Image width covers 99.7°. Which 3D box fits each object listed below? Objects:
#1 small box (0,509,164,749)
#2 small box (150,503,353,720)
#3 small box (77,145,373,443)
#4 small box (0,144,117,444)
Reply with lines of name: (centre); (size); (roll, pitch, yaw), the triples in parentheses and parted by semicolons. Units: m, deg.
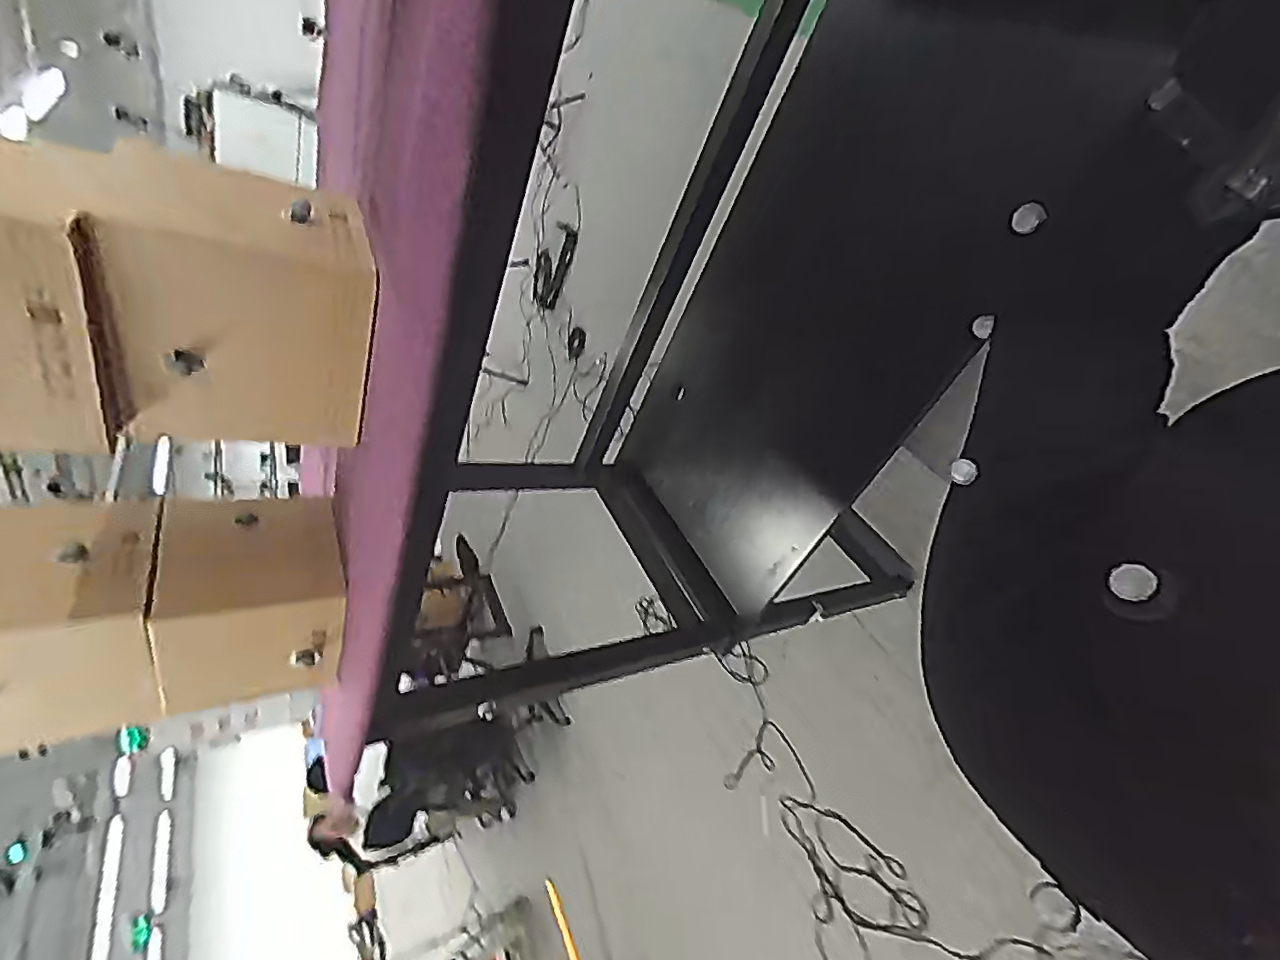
small box: (-0.586, 0.147, 0.545); (0.168, 0.176, 0.179); (51, 130, 40)
small box: (-0.448, 0.141, 0.635); (0.179, 0.176, 0.168); (52, 131, 39)
small box: (-0.335, -0.146, 0.468); (0.168, 0.176, 0.179); (58, 134, 38)
small box: (-0.468, -0.134, 0.371); (0.179, 0.176, 0.168); (53, 131, 41)
